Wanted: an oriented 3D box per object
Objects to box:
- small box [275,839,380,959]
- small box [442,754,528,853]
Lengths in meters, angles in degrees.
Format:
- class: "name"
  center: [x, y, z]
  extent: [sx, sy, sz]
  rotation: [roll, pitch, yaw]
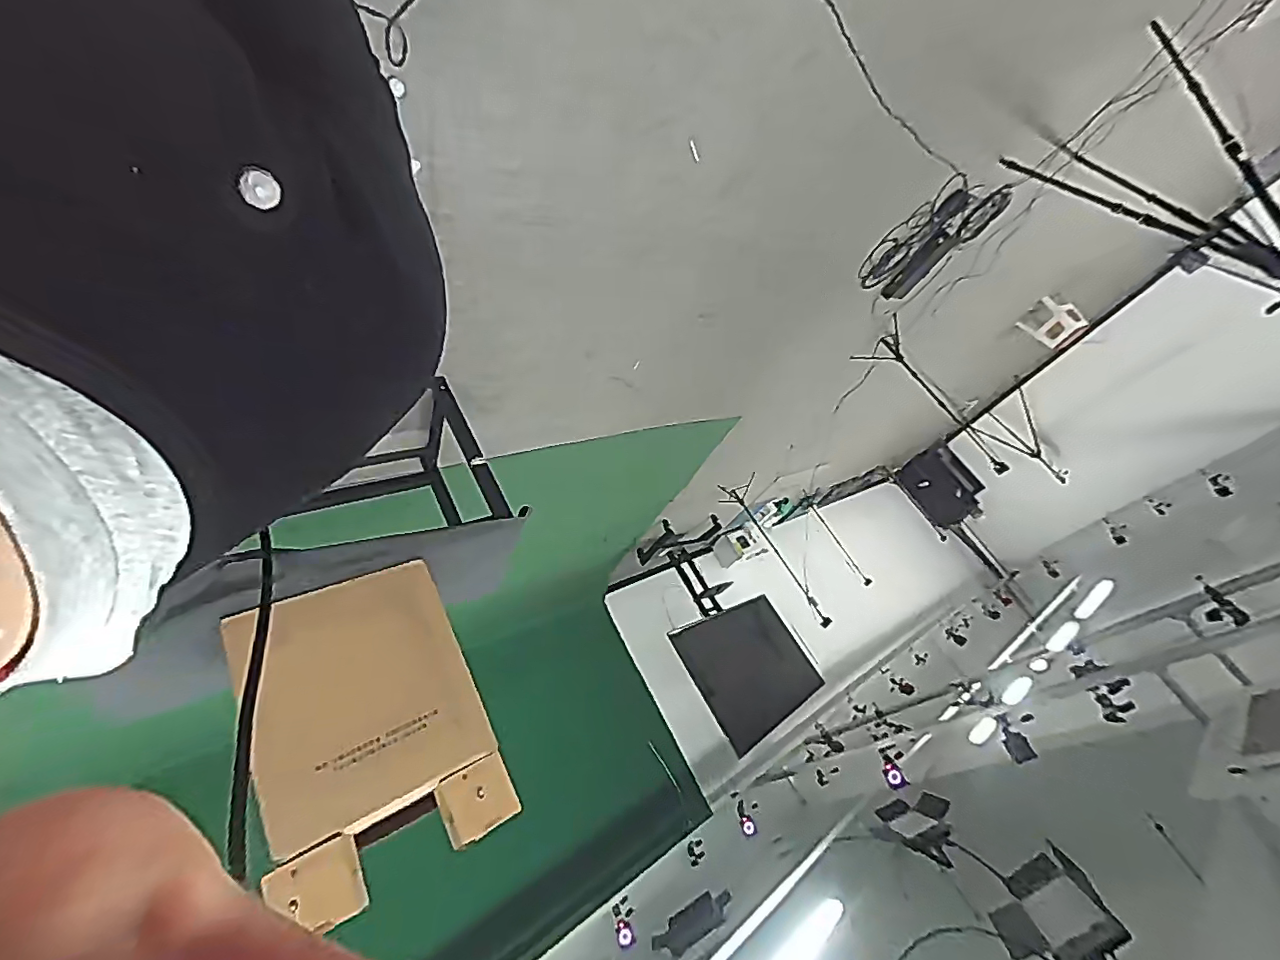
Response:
- class: "small box"
  center: [-0.733, 0.977, 1.275]
  extent: [0.168, 0.176, 0.179]
  rotation: [-18, 155, -27]
- class: "small box"
  center: [-0.437, 0.895, 1.507]
  extent: [0.168, 0.176, 0.179]
  rotation: [-17, 153, -36]
